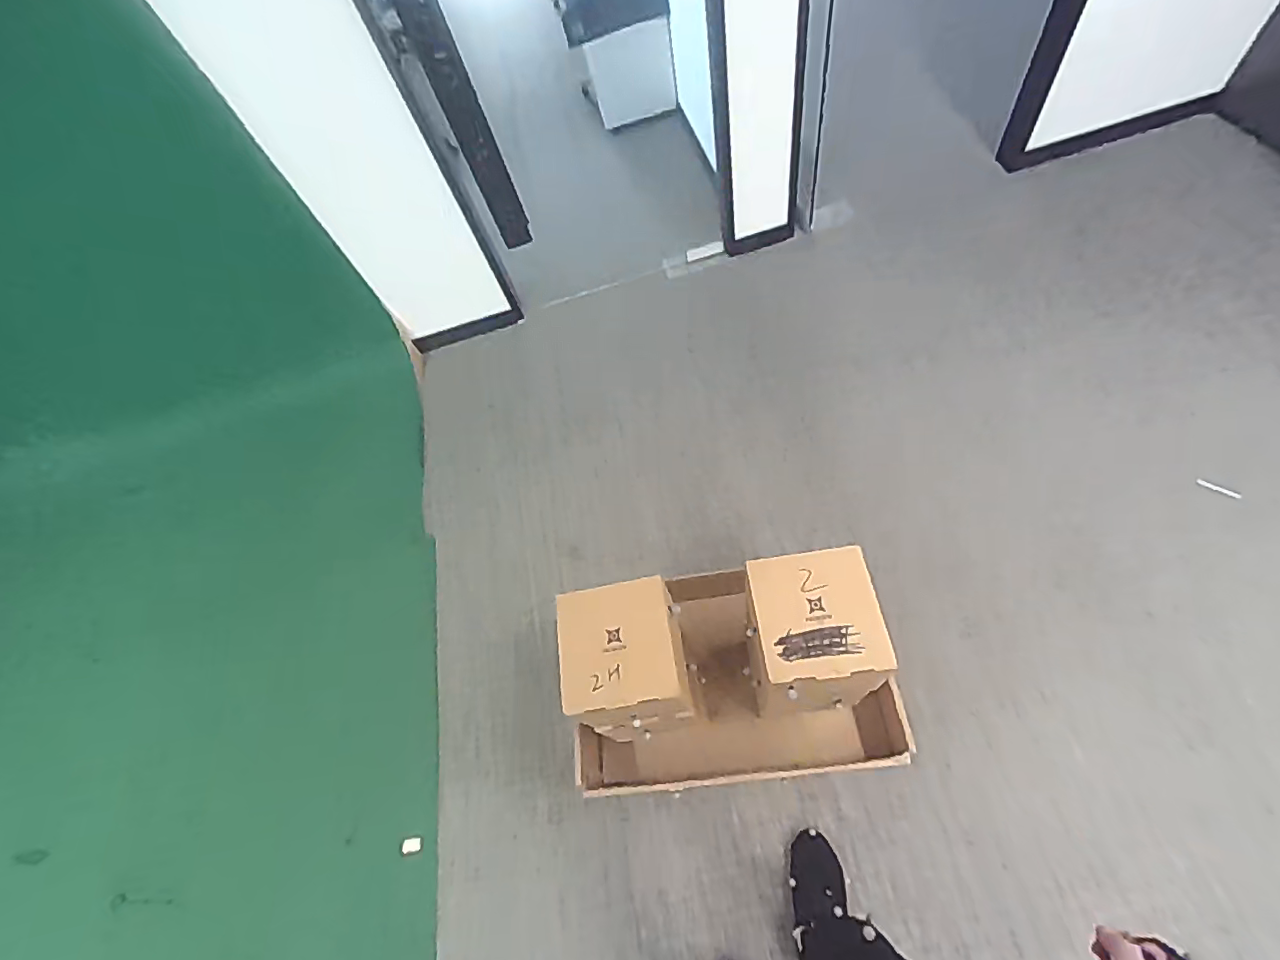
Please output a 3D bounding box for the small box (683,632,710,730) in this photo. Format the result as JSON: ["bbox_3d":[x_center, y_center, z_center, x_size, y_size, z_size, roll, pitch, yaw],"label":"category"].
[{"bbox_3d":[0.041,0.426,1.112,0.179,0.176,0.168,-11,59,5],"label":"small box"}]

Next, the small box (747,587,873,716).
[{"bbox_3d":[0.284,0.303,0.936,0.168,0.176,0.179,-9,58,6],"label":"small box"}]

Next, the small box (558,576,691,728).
[{"bbox_3d":[-0.021,0.269,0.831,0.168,0.176,0.179,-12,59,6],"label":"small box"}]

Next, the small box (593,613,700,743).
[{"bbox_3d":[0.008,0.357,0.969,0.168,0.176,0.179,-12,58,4],"label":"small box"}]
